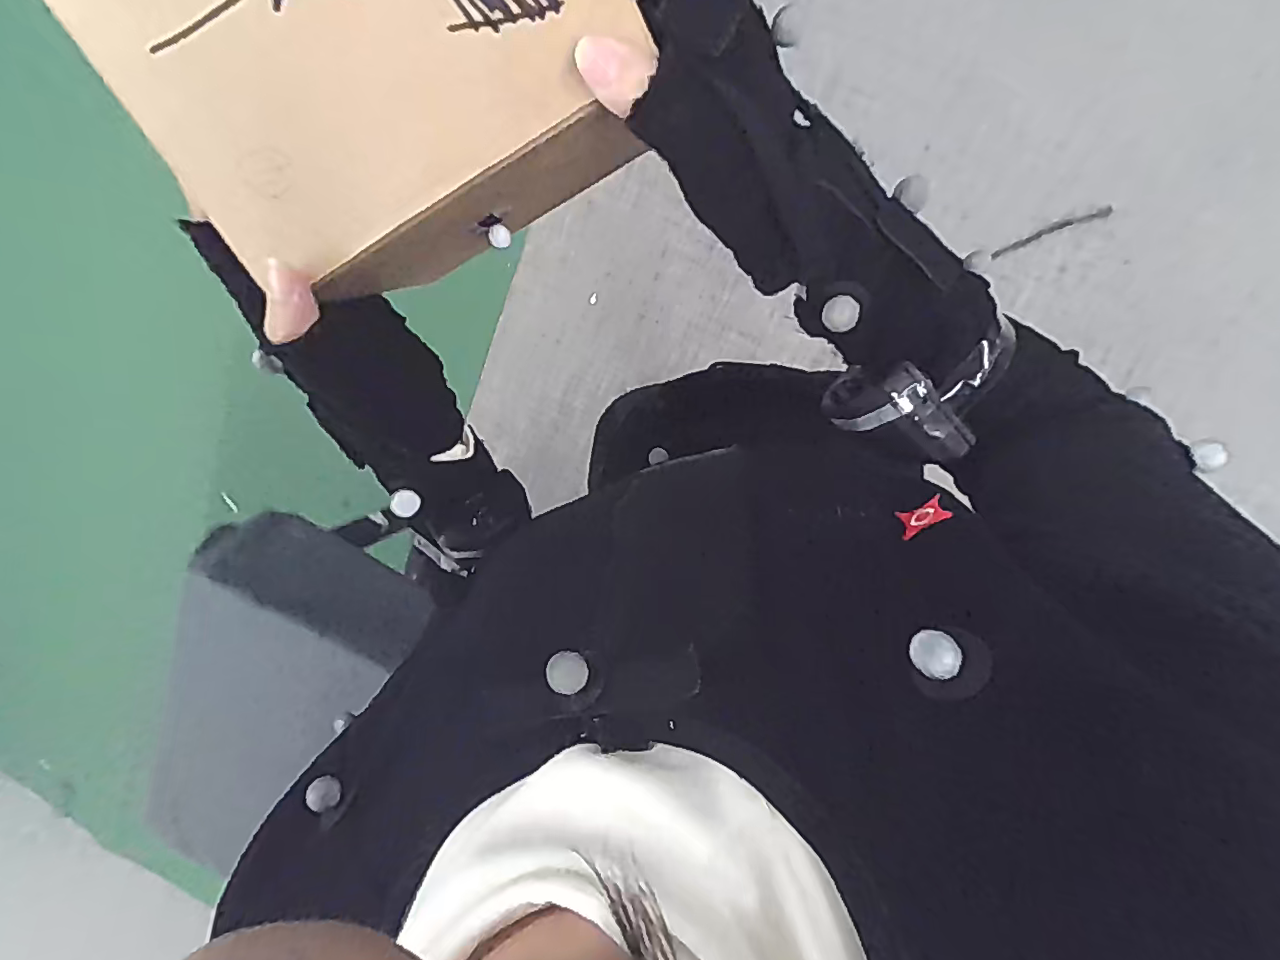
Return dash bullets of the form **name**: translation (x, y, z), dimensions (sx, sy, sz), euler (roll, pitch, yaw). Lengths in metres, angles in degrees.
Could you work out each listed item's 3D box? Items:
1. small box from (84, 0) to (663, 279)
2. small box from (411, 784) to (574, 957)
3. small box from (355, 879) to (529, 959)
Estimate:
- **small box**: translation (-0.101, -0.214, 0.248), dimensions (0.179, 0.176, 0.168), euler (-23, 110, 12)
- **small box**: translation (-0.222, 0.592, 0.797), dimensions (0.179, 0.176, 0.168), euler (23, 108, 6)
- **small box**: translation (-0.260, 0.629, 0.645), dimensions (0.179, 0.176, 0.168), euler (22, 106, 7)
